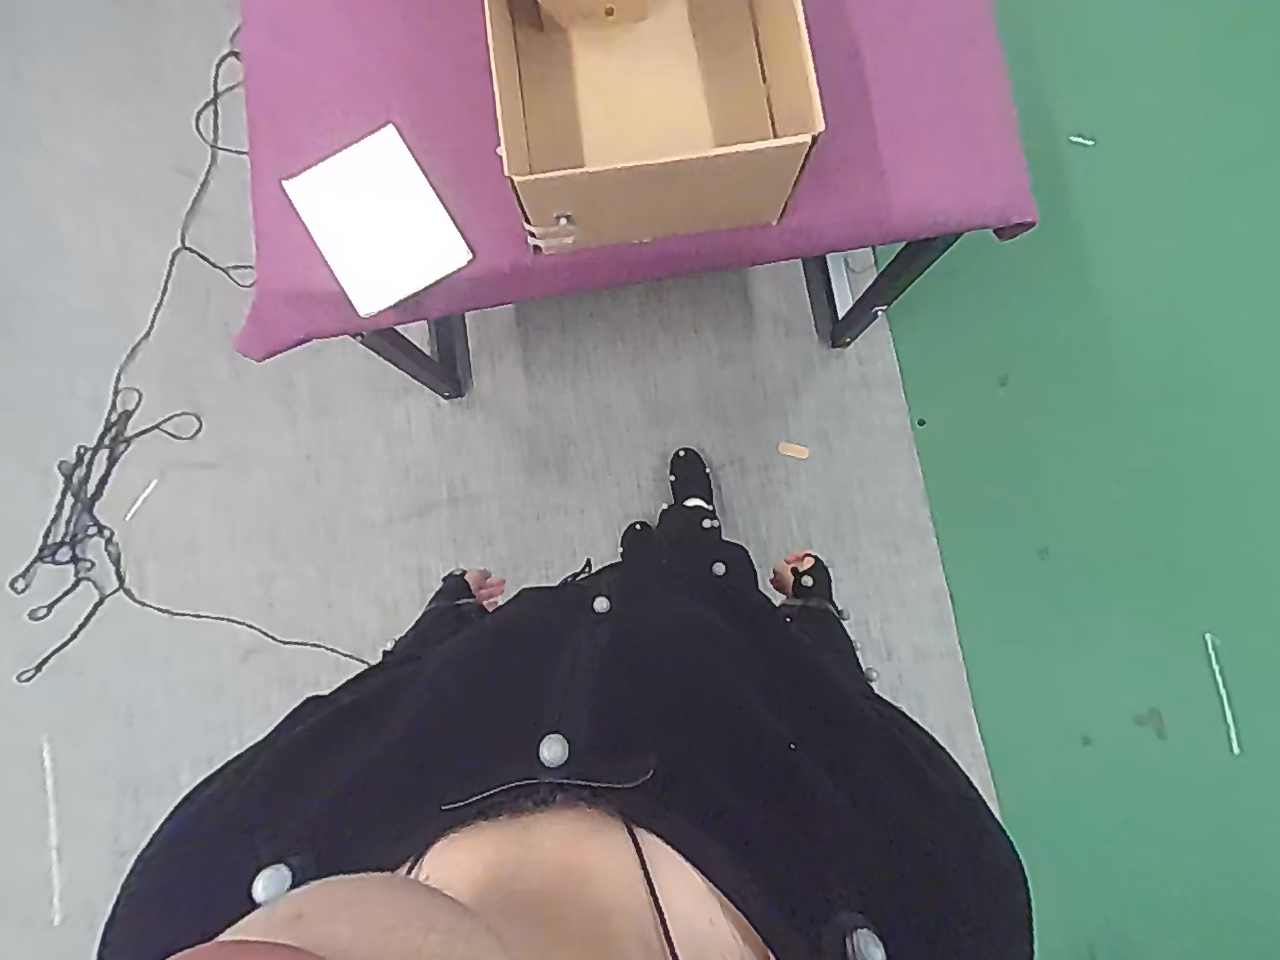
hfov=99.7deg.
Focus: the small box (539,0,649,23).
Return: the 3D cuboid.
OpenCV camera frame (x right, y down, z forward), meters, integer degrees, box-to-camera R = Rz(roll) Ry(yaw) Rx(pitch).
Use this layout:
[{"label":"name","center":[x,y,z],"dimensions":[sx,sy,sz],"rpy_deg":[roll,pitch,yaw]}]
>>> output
[{"label":"small box","center":[-0.077,-0.788,0.757],"dimensions":[0.168,0.176,0.179],"rpy_deg":[-7,86,0]}]
